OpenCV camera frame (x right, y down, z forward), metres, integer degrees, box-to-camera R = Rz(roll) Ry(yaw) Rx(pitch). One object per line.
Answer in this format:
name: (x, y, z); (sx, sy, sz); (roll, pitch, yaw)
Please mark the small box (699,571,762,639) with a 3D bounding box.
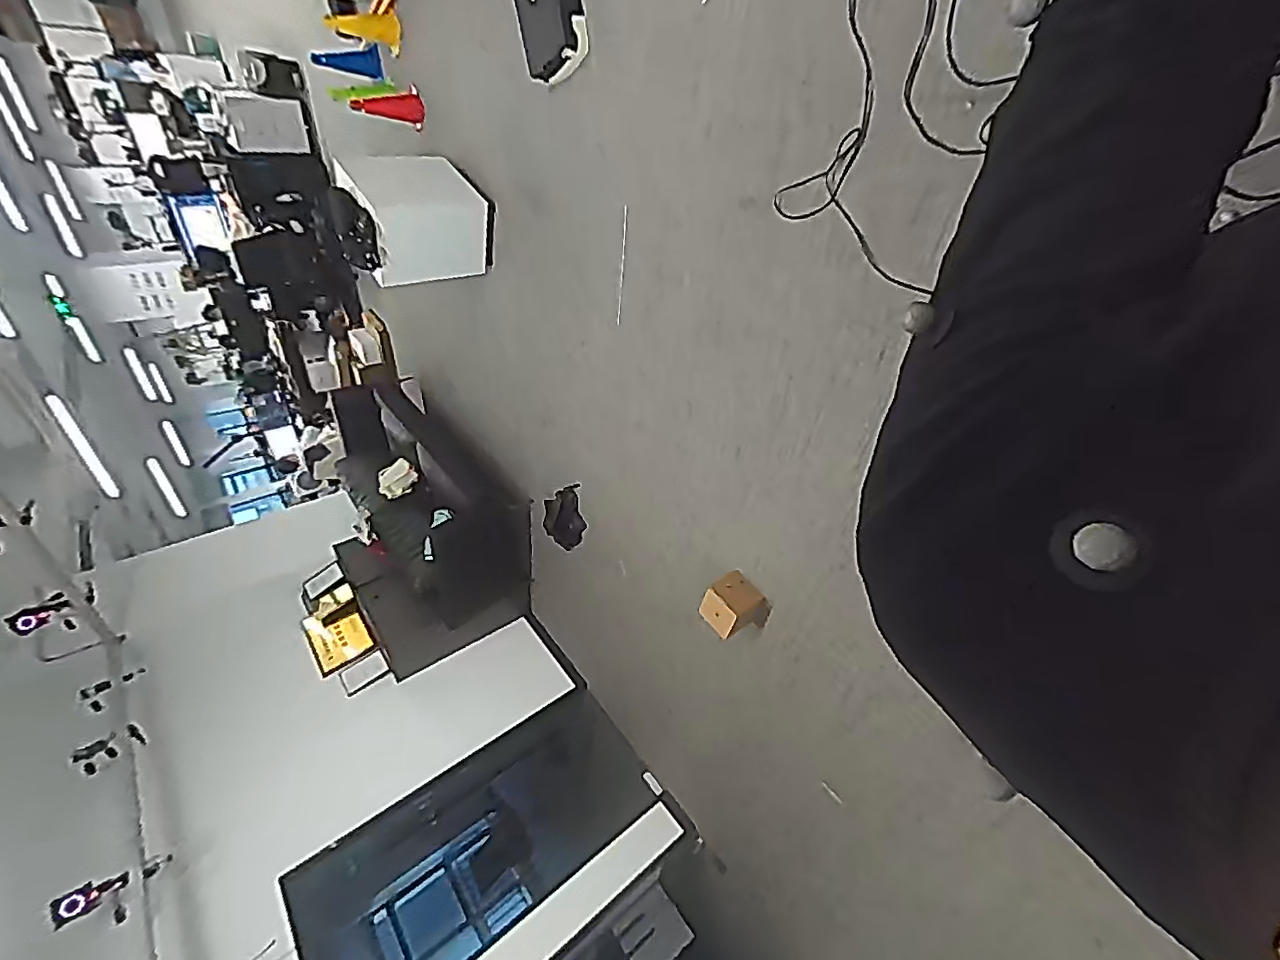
small box: (0.366, 0.498, 2.176); (0.168, 0.176, 0.179); (45, 142, 32)
